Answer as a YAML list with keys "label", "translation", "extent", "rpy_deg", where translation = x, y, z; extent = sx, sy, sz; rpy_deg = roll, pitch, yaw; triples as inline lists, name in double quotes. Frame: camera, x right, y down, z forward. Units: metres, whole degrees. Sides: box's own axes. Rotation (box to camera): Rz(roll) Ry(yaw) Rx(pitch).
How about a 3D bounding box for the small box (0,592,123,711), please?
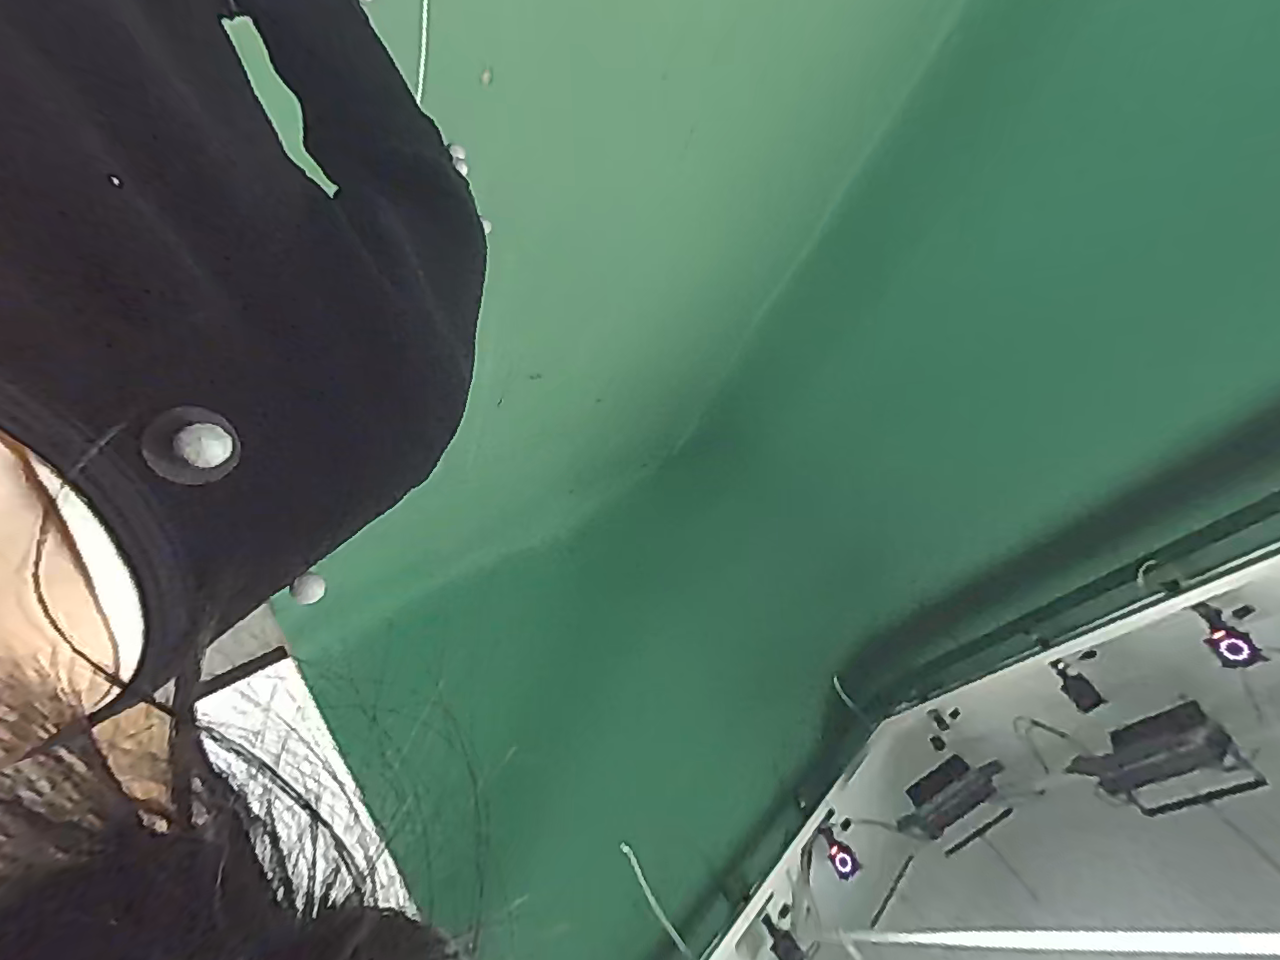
- label: "small box"
  translation: [-1.141, 0.352, 1.050]
  extent: [0.179, 0.176, 0.168]
  rpy_deg: [-25, 158, -41]

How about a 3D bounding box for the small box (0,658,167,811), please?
- label: "small box"
  translation: [-1.033, 0.468, 1.006]
  extent: [0.179, 0.176, 0.168]
  rpy_deg: [-25, 158, -41]
